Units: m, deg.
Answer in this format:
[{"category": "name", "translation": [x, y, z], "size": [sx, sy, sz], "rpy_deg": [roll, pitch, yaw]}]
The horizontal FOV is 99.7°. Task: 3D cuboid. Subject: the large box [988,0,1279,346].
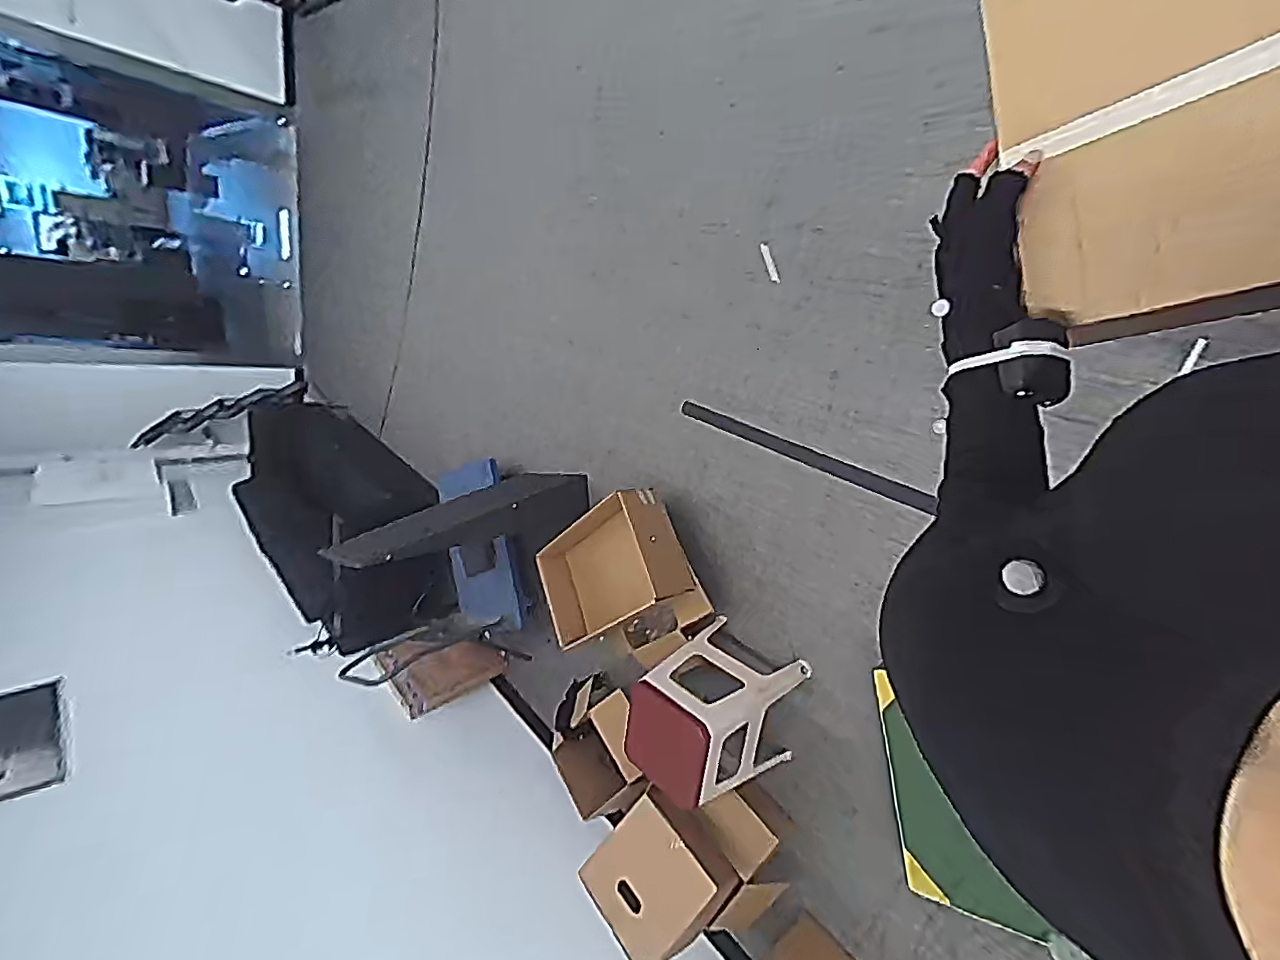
[{"category": "large box", "translation": [0.581, -0.322, 0.467], "size": [0.408, 0.320, 0.320], "rpy_deg": [-5, 95, 45]}]
